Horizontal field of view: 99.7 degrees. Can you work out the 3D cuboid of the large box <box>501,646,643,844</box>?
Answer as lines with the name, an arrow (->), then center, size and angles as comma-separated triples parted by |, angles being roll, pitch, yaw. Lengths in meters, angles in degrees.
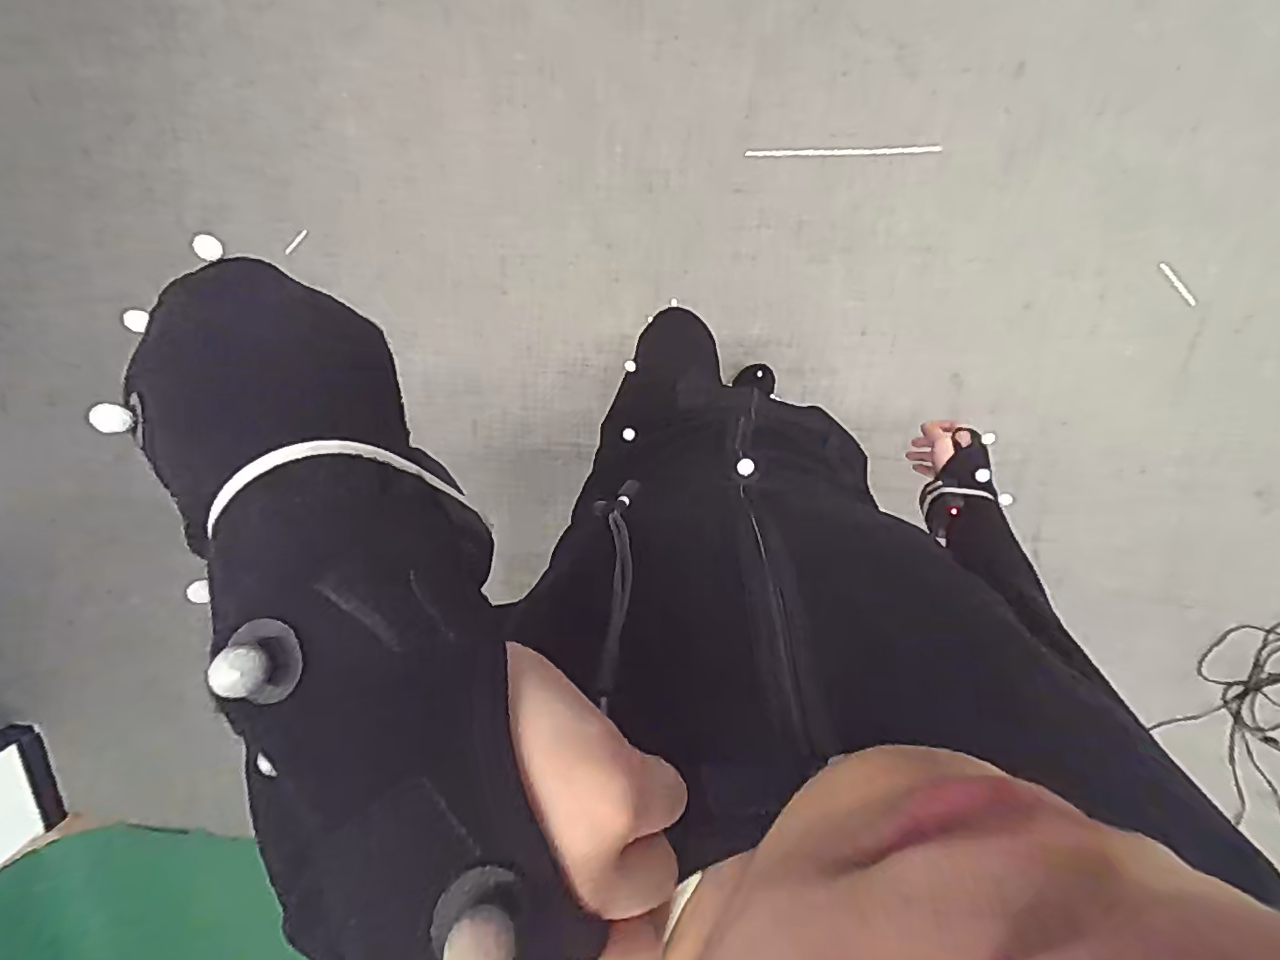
large box -> -0.167, 0.726, 1.524 | 0.320, 0.320, 0.408 | -2, 104, 7
